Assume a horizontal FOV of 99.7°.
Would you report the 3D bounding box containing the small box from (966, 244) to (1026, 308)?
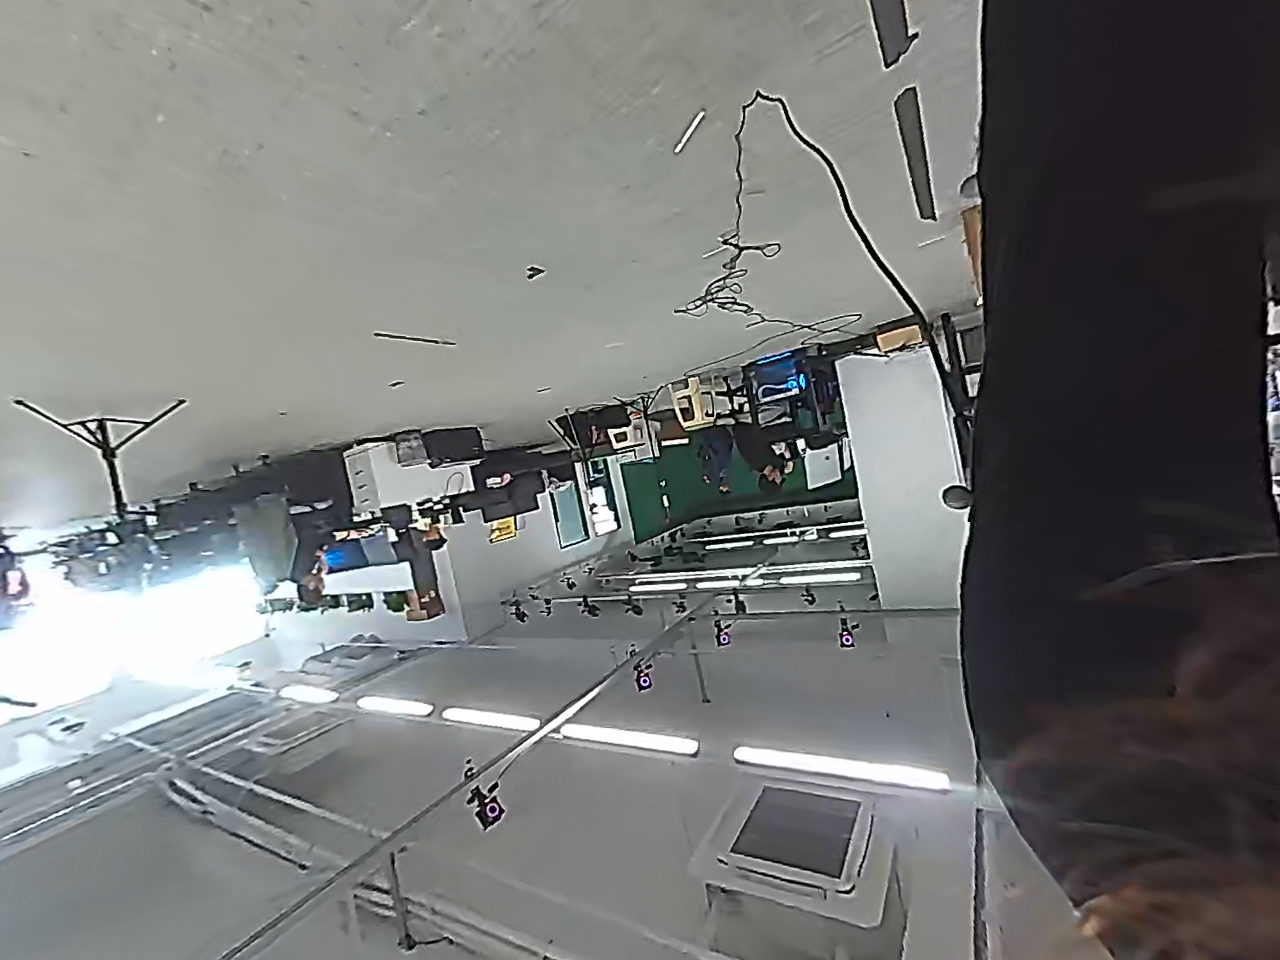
[{"bbox_3d":[1.365,-0.783,2.079,0.168,0.176,0.179,-11,180,30],"label":"small box"}]
